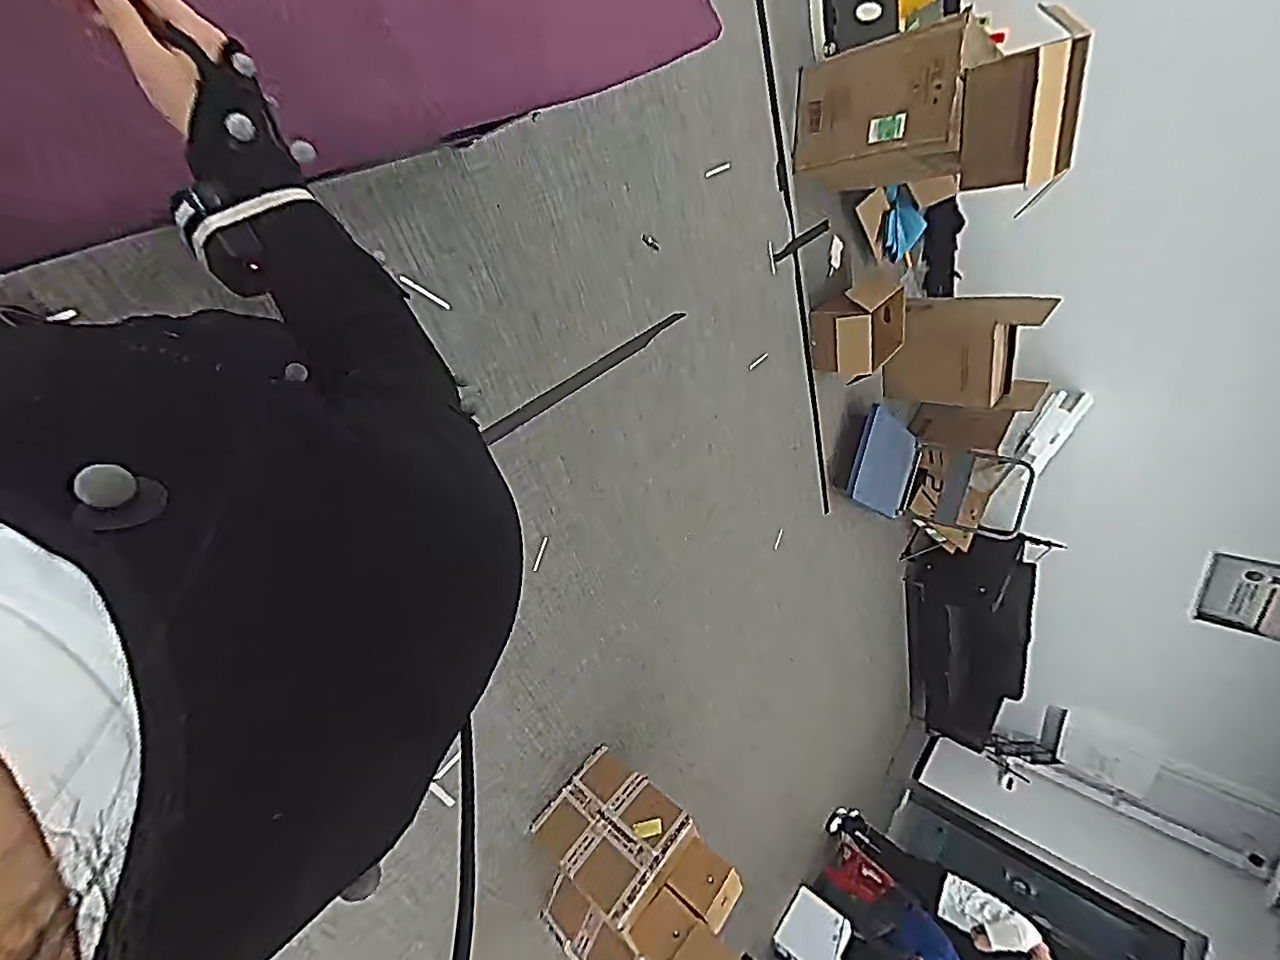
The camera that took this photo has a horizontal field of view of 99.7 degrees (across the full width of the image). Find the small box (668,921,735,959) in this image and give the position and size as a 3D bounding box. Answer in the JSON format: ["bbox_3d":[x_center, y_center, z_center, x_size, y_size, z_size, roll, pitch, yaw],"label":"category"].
[{"bbox_3d":[0.188,1.496,1.622,0.179,0.176,0.168,-36,124,-32],"label":"small box"}]

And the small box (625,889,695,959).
[{"bbox_3d":[0.079,1.488,1.747,0.179,0.176,0.168,-33,122,-33],"label":"small box"}]
